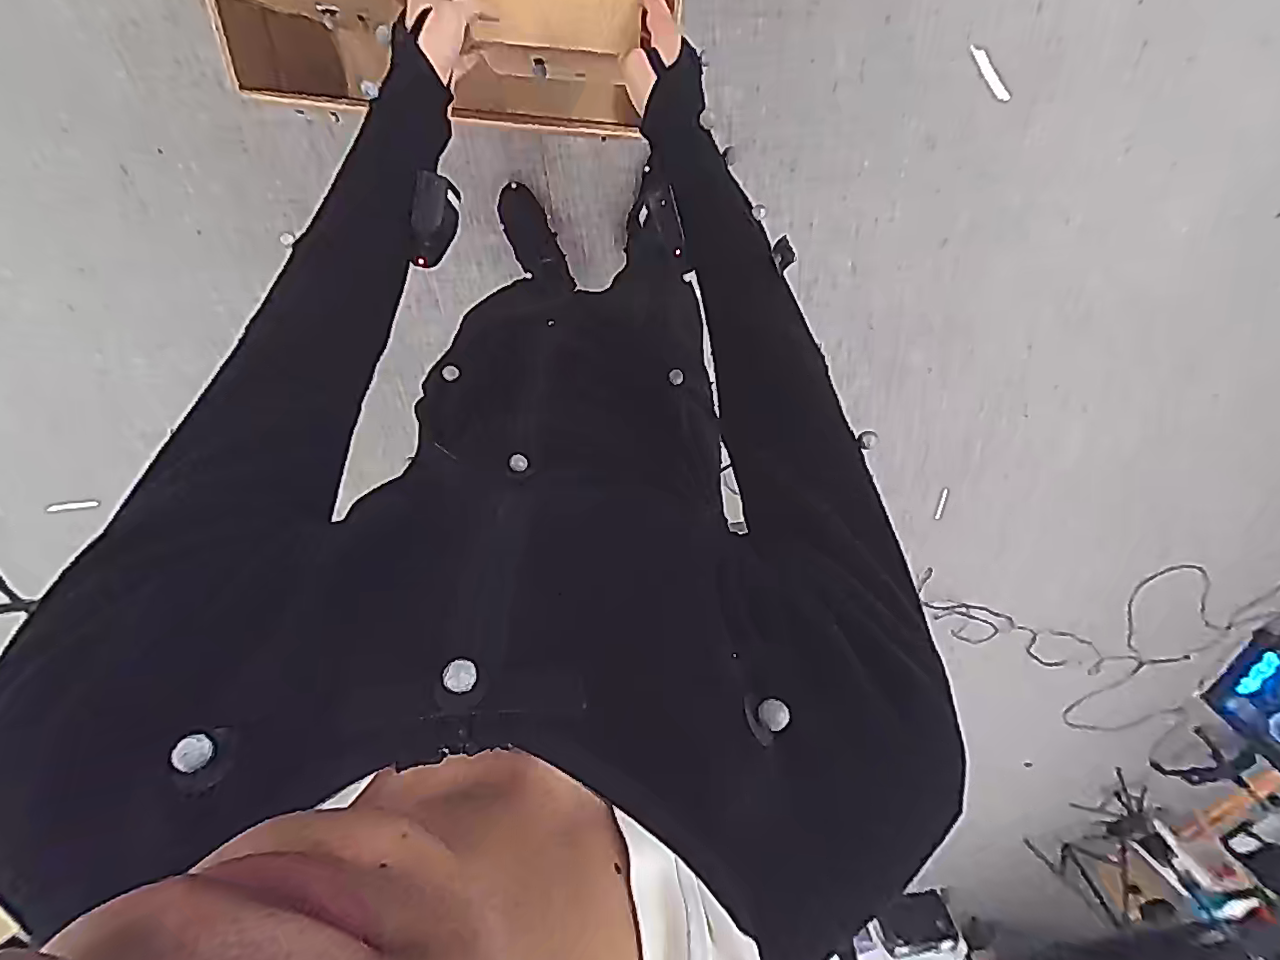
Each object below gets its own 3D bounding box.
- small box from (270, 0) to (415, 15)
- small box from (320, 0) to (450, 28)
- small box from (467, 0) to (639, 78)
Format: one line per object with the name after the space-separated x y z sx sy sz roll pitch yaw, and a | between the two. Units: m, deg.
-0.359 -0.621 0.572 0.168 0.176 0.179 -2 124 -2 | small box
-0.365 -0.712 0.709 0.179 0.176 0.168 -2 124 -6 | small box
-0.084 -0.535 0.555 0.168 0.176 0.179 0 118 -6 | small box
